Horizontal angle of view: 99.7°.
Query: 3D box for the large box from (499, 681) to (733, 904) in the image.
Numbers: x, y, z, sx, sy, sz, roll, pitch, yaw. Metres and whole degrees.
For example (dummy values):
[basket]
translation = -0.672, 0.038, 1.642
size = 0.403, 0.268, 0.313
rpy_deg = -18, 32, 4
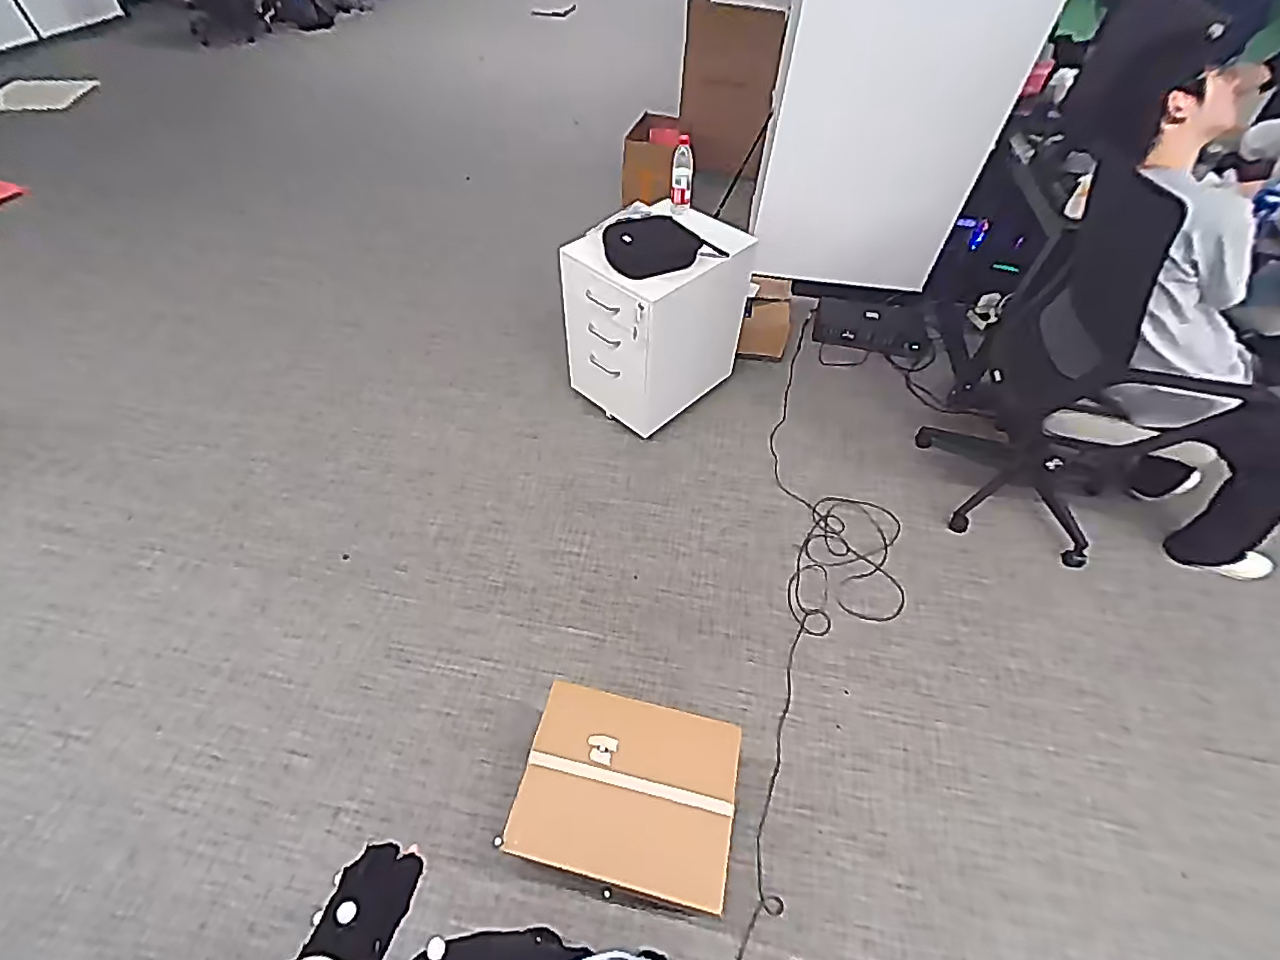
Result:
[large box]
translation = -0.033, 0.672, 1.160
size = 0.408, 0.320, 0.320
rpy_deg = 11, 51, 7
